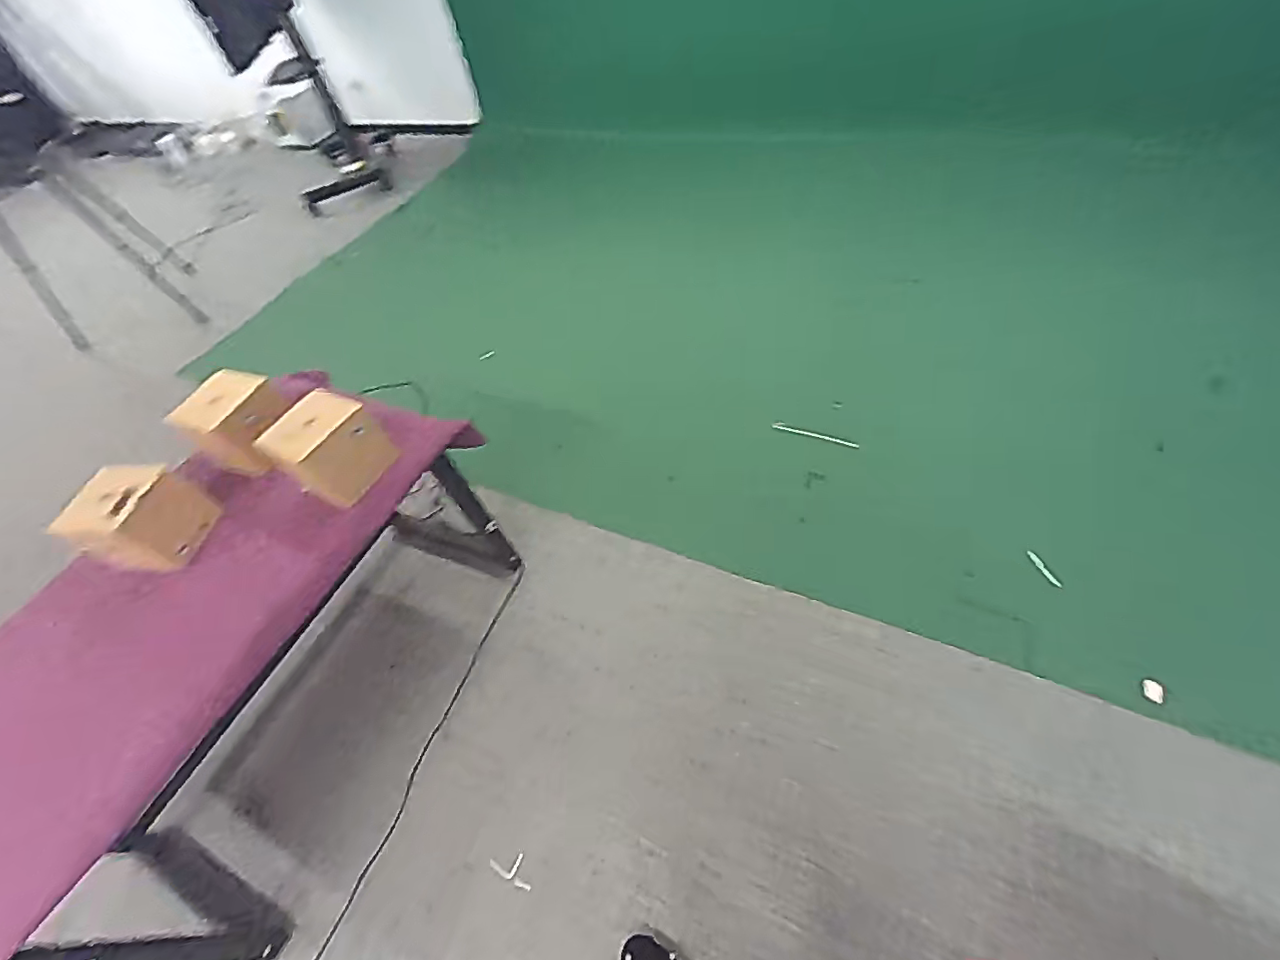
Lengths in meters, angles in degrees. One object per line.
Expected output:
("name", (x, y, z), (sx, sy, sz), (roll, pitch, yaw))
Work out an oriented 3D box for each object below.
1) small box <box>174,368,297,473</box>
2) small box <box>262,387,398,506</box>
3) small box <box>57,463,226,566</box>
("small box", (-0.965, -0.146, 1.332), (0.168, 0.176, 0.179), (12, 58, 19))
("small box", (-0.679, -0.075, 1.212), (0.168, 0.176, 0.179), (19, 60, 26))
("small box", (-1.073, 0.079, 1.183), (0.179, 0.176, 0.168), (0, 53, 12))
